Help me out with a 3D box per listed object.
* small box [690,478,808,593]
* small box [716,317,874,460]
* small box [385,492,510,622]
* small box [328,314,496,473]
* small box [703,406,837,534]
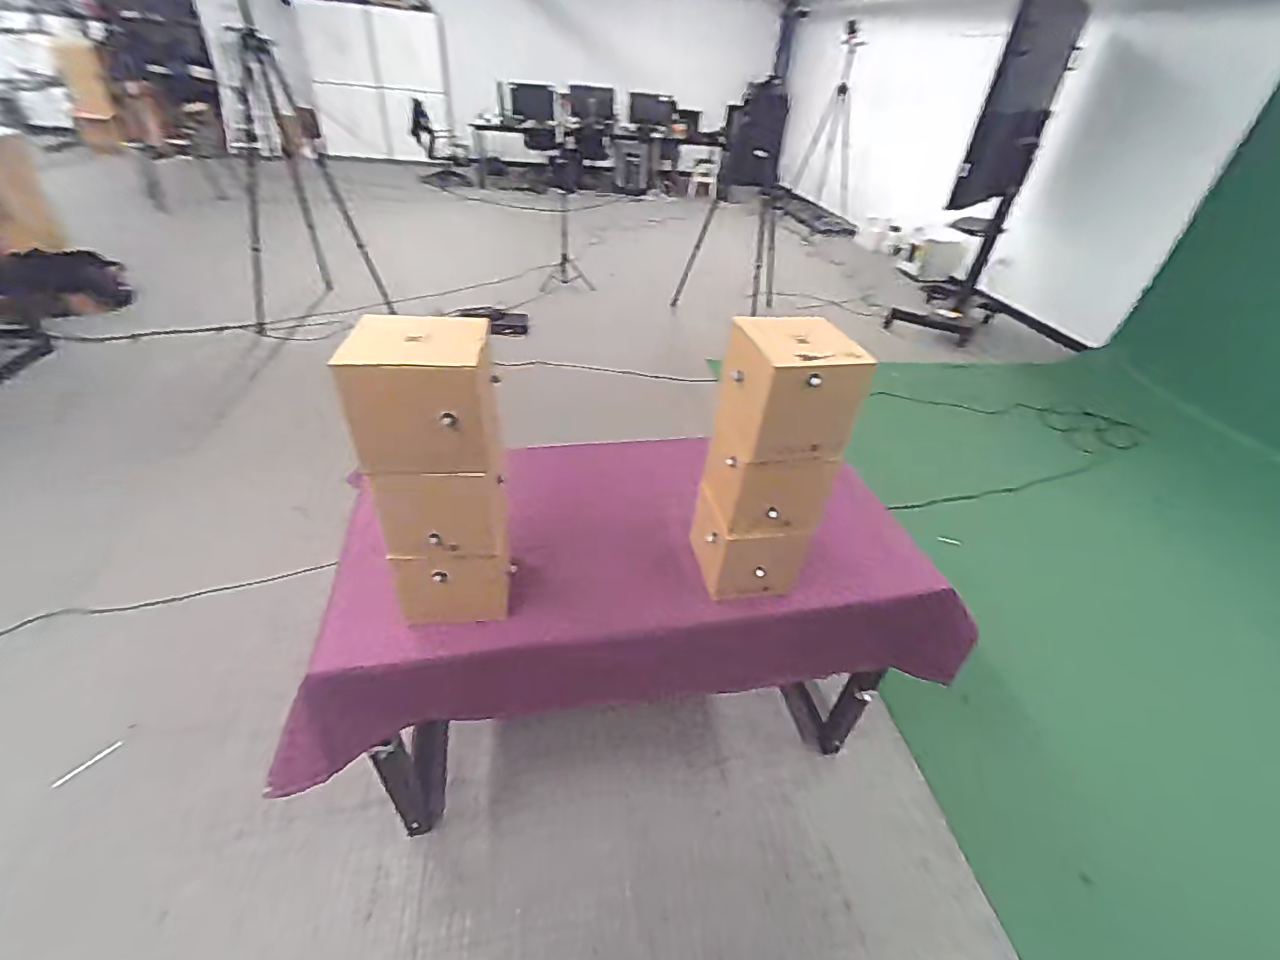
[{"bbox_3d":[0.205,0.109,1.071,0.168,0.176,0.179,-3,38,-11],"label":"small box"},{"bbox_3d":[0.235,-0.151,0.875,0.168,0.176,0.179,-6,39,-13],"label":"small box"},{"bbox_3d":[-0.331,0.138,0.968,0.179,0.176,0.168,-1,38,-10],"label":"small box"},{"bbox_3d":[-0.305,-0.122,0.770,0.179,0.176,0.168,-1,38,-8],"label":"small box"},{"bbox_3d":[0.221,-0.024,0.978,0.168,0.176,0.179,-3,40,-11],"label":"small box"}]
